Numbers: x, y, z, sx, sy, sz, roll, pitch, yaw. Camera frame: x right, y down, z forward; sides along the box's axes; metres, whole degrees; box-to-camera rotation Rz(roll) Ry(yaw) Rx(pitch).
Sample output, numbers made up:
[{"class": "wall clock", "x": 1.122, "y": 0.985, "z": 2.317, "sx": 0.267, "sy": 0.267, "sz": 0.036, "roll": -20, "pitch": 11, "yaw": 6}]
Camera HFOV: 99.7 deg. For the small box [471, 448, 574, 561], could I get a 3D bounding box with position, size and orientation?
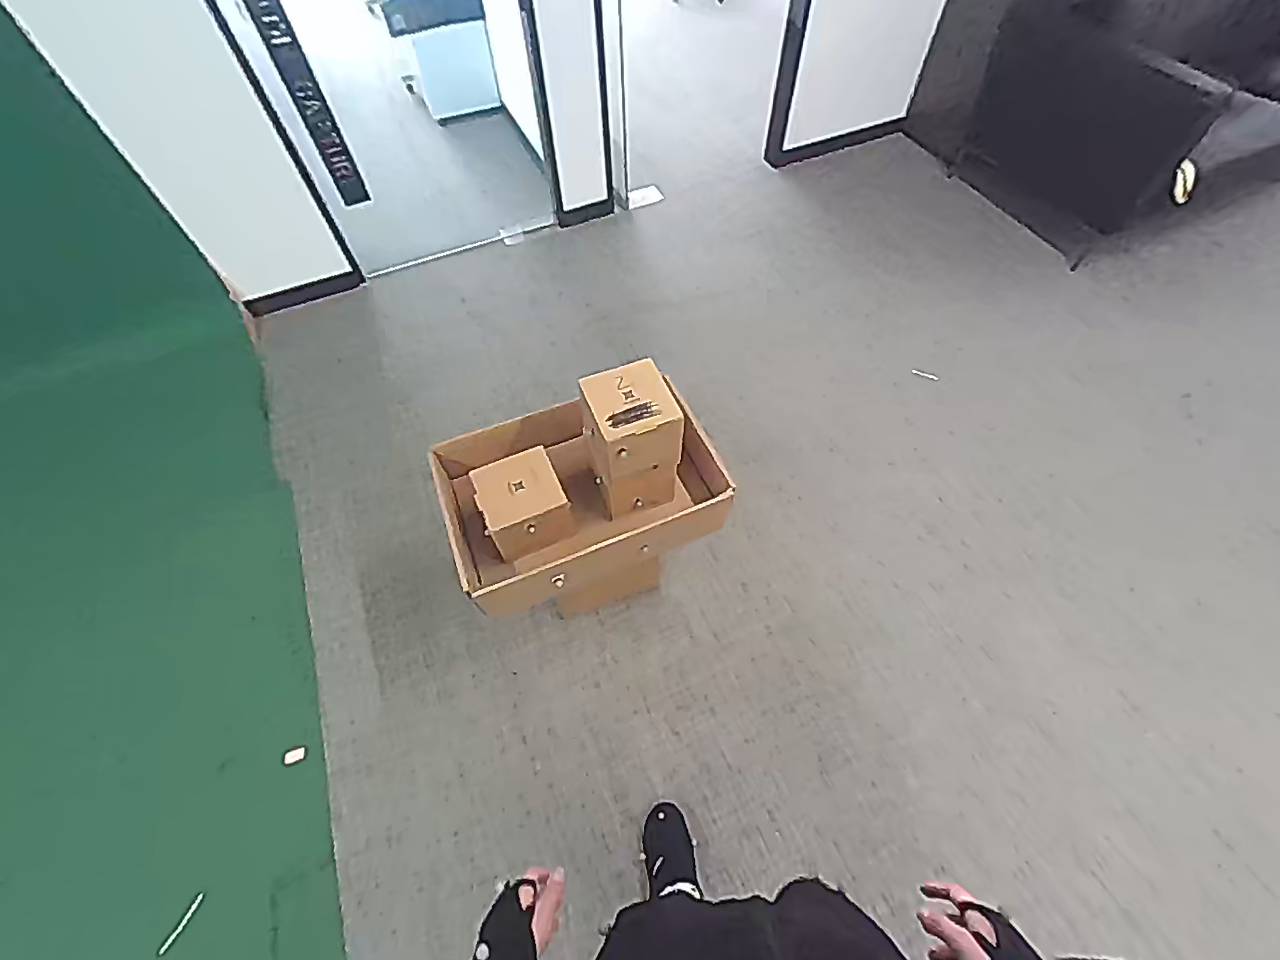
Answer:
[{"class": "small box", "x": -0.263, "y": 0.061, "z": 1.237, "sx": 0.179, "sy": 0.176, "sz": 0.168, "roll": -20, "pitch": 60, "yaw": -13}]
